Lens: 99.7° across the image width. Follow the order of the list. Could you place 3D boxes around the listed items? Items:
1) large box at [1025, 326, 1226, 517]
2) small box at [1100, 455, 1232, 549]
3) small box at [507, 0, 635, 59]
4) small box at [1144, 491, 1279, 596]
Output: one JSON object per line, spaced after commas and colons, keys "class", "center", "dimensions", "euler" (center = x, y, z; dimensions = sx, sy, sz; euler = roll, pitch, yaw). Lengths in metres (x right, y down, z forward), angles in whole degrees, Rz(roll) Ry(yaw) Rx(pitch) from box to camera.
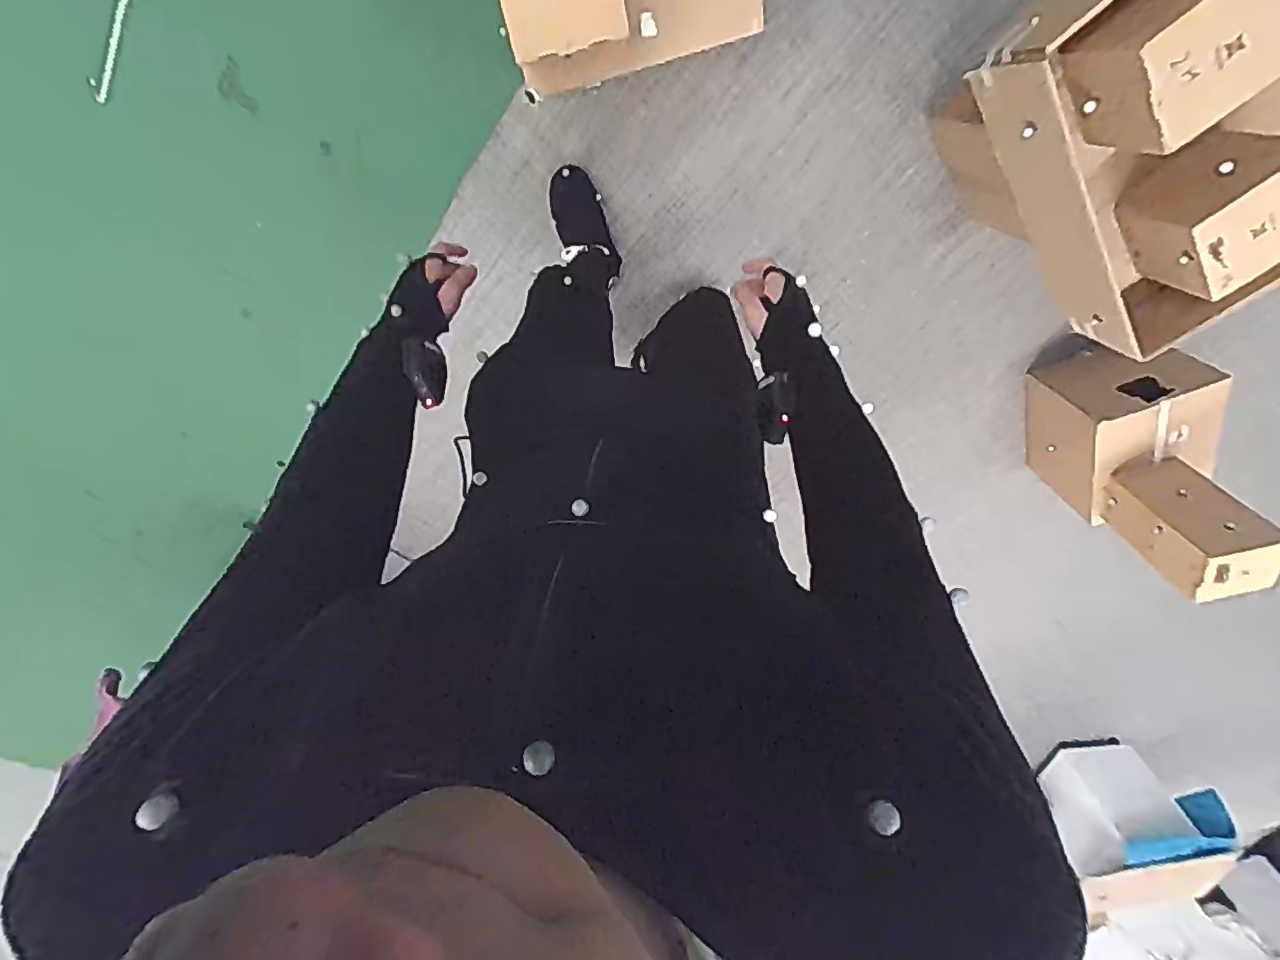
{"class": "large box", "center": [1.395, -0.170, 1.597], "dimensions": [0.320, 0.320, 0.408], "euler": [-23, 125, 12]}
{"class": "small box", "center": [1.409, 0.055, 1.462], "dimensions": [0.179, 0.176, 0.168], "euler": [-16, 126, 10]}
{"class": "small box", "center": [-0.109, -0.717, 0.759], "dimensions": [0.168, 0.176, 0.179], "euler": [-12, 129, 4]}
{"class": "small box", "center": [1.407, 0.154, 1.332], "dimensions": [0.179, 0.176, 0.168], "euler": [-16, 126, 9]}
